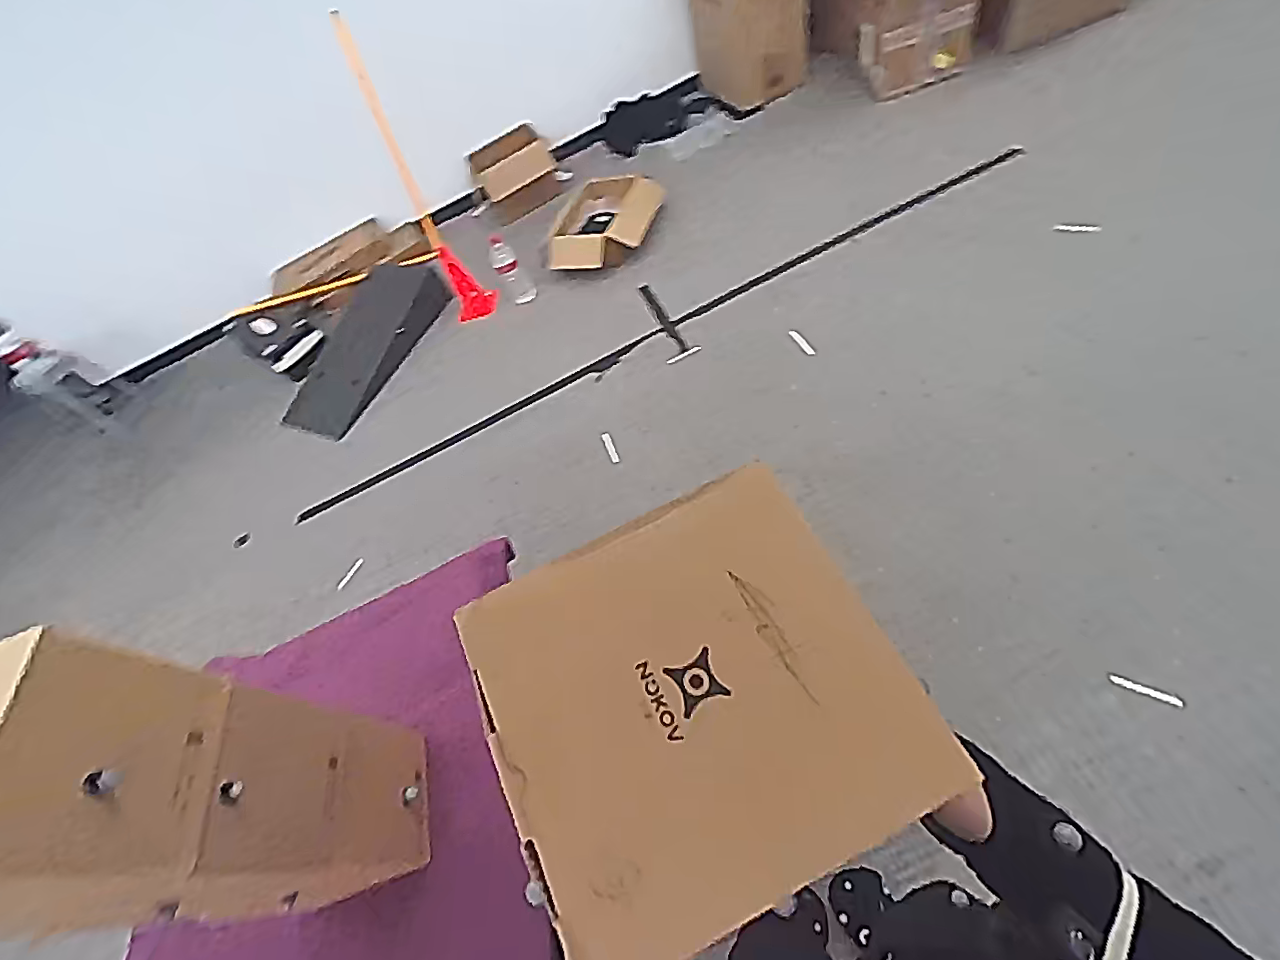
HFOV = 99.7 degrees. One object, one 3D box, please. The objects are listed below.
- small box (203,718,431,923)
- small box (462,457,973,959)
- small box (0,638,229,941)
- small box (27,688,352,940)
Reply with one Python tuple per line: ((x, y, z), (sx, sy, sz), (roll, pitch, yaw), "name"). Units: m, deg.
((-0.395, 0.433, 0.692), (0.179, 0.176, 0.168), (-24, 53, 3), "small box")
((0.032, 0.122, 0.311), (0.179, 0.176, 0.168), (-26, 66, -6), "small box")
((-0.482, 0.252, 0.433), (0.179, 0.176, 0.168), (-23, 53, 5), "small box")
((-0.439, 0.343, 0.562), (0.179, 0.176, 0.168), (-23, 53, 6), "small box")
